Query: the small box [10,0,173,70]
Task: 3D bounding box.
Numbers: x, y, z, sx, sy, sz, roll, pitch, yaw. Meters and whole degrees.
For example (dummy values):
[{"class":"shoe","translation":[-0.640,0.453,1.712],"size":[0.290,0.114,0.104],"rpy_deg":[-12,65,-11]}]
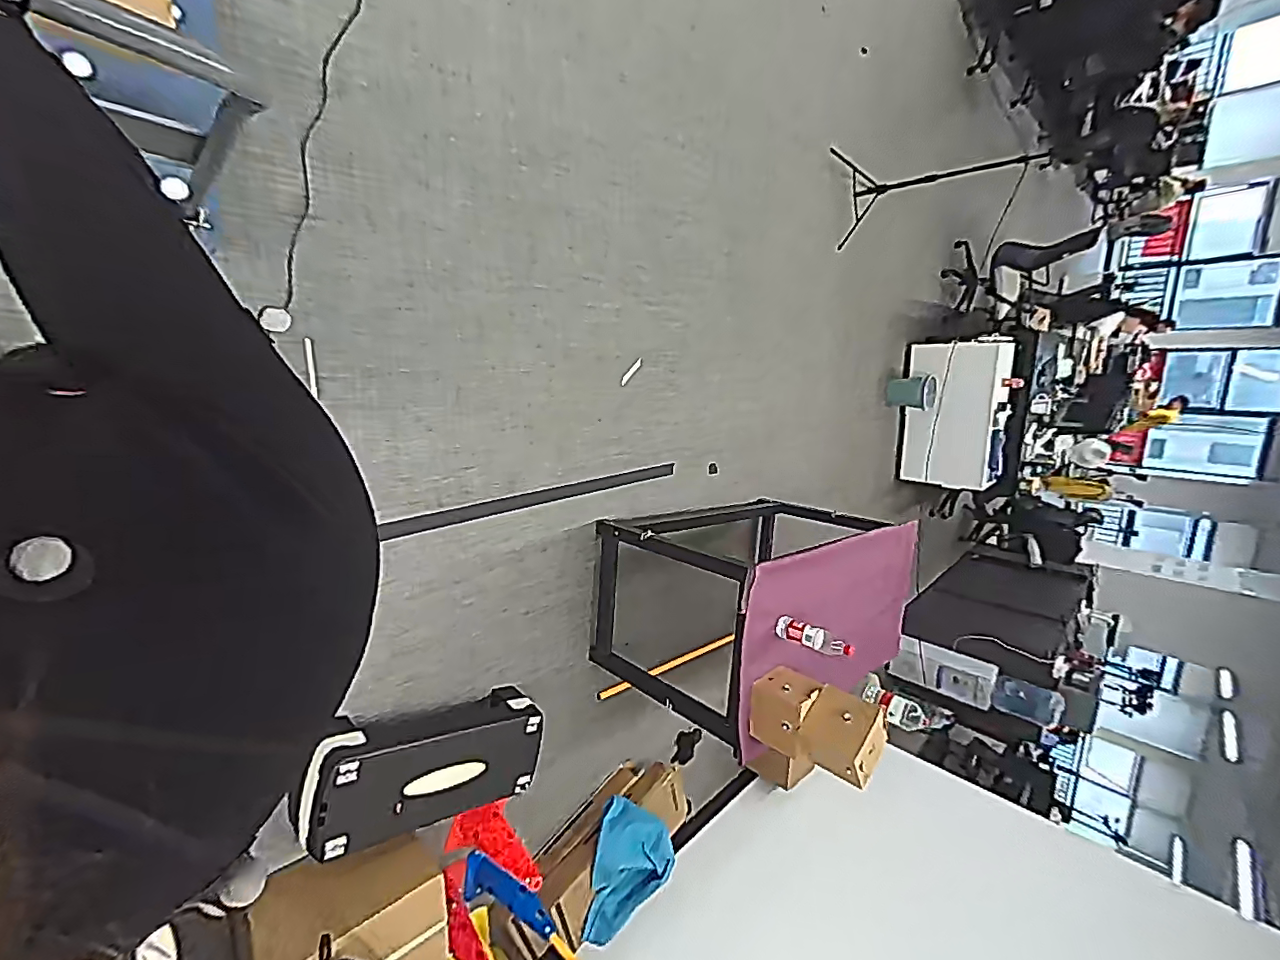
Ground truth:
[{"class":"small box","translation":[-0.824,-0.761,0.807],"size":[0.179,0.176,0.168],"rpy_deg":[-7,103,-44]}]
